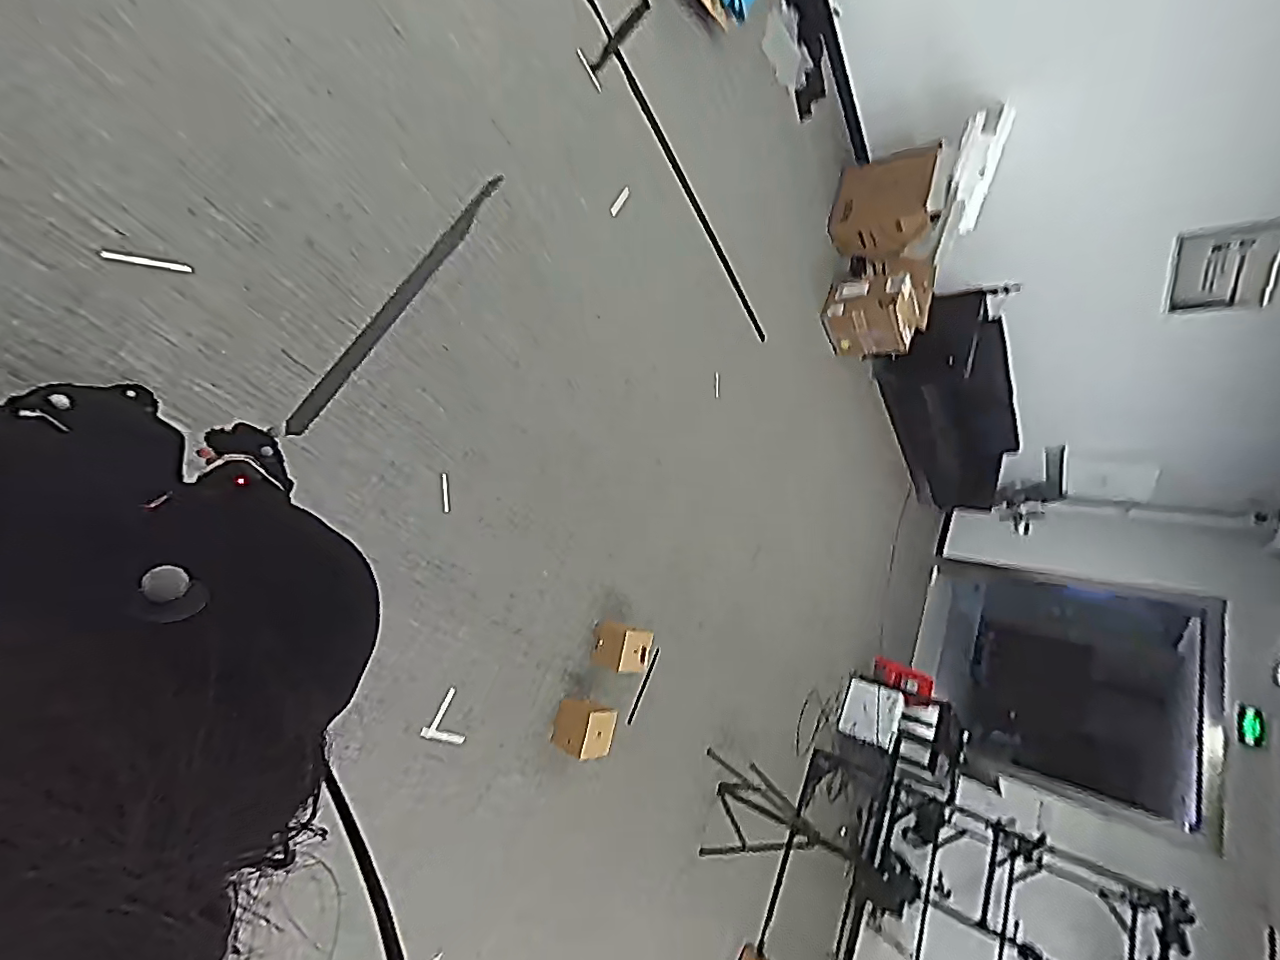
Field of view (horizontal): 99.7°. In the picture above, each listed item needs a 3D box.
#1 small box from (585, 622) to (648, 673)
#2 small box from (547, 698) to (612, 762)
[{"bbox_3d":[-0.098,0.695,2.249,0.179,0.176,0.168,21,78,-48],"label":"small box"},{"bbox_3d":[-0.240,0.976,2.119,0.168,0.176,0.179,22,77,-49],"label":"small box"}]
